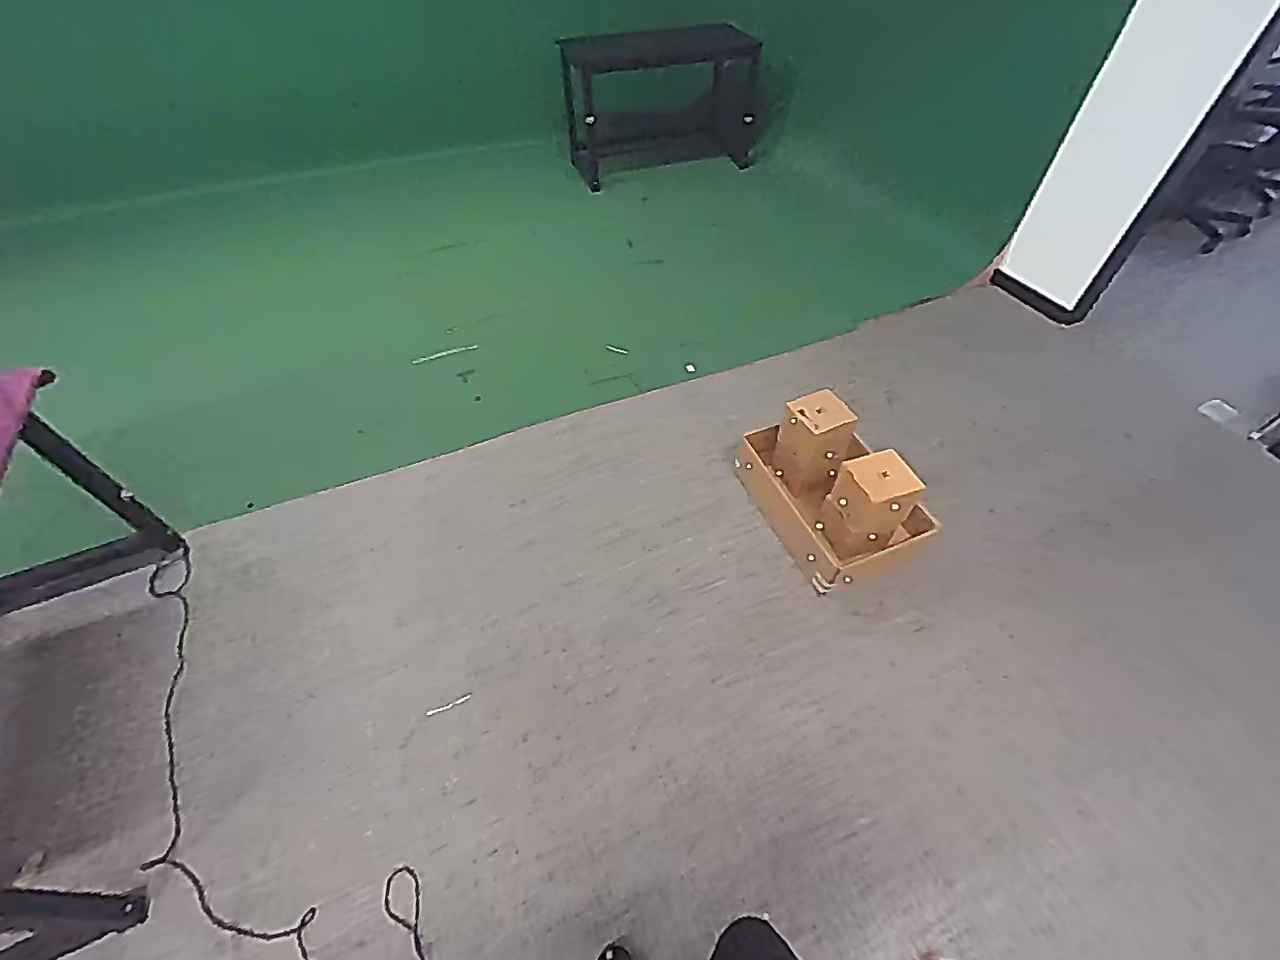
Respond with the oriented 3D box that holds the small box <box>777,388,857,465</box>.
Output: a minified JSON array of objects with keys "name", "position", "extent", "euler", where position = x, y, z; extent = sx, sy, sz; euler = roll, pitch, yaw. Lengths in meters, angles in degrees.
[{"name":"small box","position":[0.592,-0.179,1.834],"extent":[0.179,0.176,0.168],"euler":[-20,52,-16]}]

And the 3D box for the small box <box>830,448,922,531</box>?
[{"name":"small box","position":[0.716,0.032,1.662],"extent":[0.179,0.176,0.168],"euler":[-15,53,-10]}]
